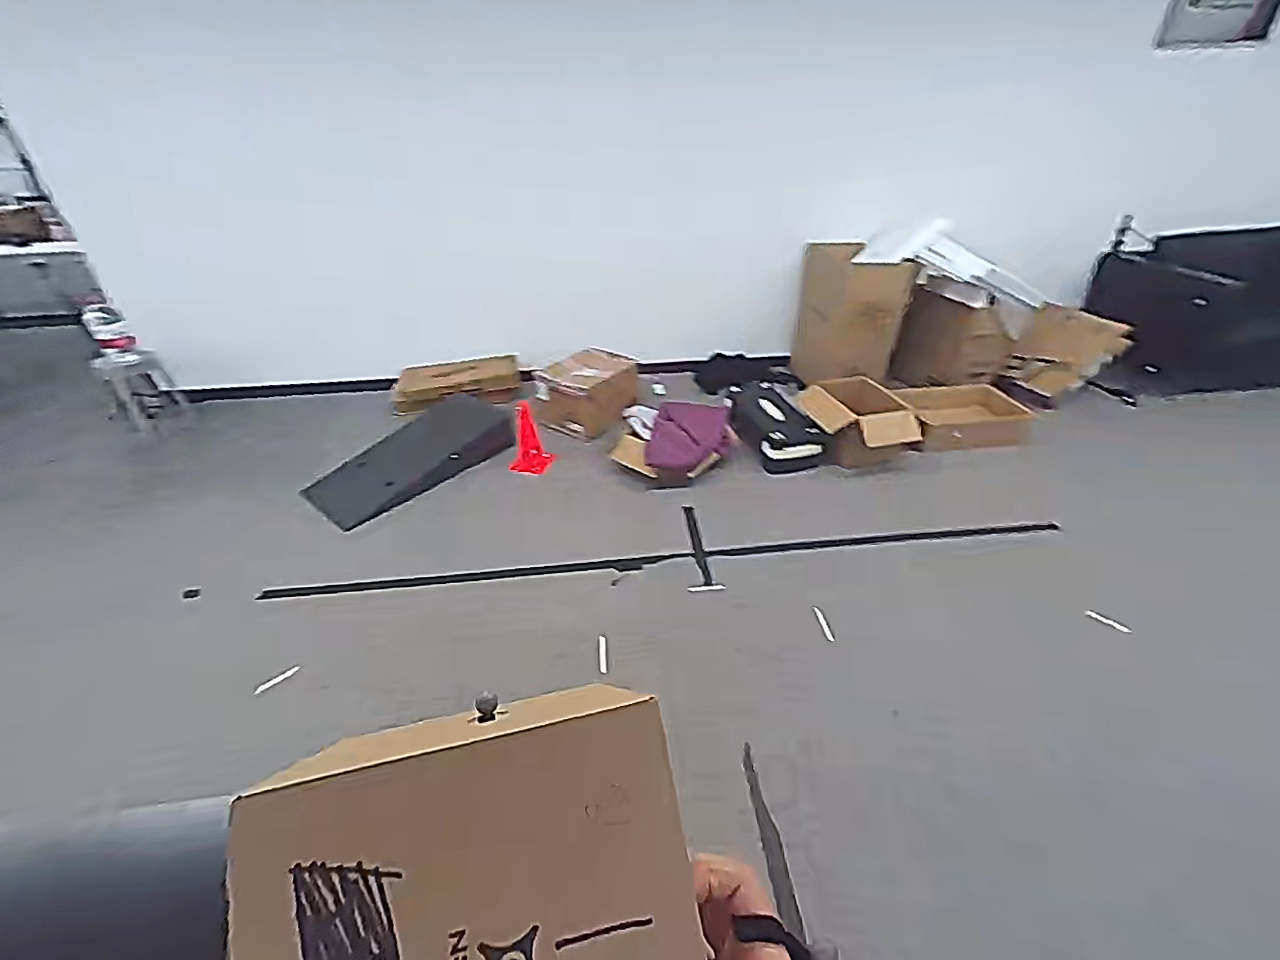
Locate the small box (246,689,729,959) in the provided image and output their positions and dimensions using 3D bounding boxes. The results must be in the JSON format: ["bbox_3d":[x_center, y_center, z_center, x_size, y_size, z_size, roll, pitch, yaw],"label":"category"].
[{"bbox_3d":[-0.068,0.211,0.279,0.179,0.176,0.168,-6,73,-16],"label":"small box"}]
